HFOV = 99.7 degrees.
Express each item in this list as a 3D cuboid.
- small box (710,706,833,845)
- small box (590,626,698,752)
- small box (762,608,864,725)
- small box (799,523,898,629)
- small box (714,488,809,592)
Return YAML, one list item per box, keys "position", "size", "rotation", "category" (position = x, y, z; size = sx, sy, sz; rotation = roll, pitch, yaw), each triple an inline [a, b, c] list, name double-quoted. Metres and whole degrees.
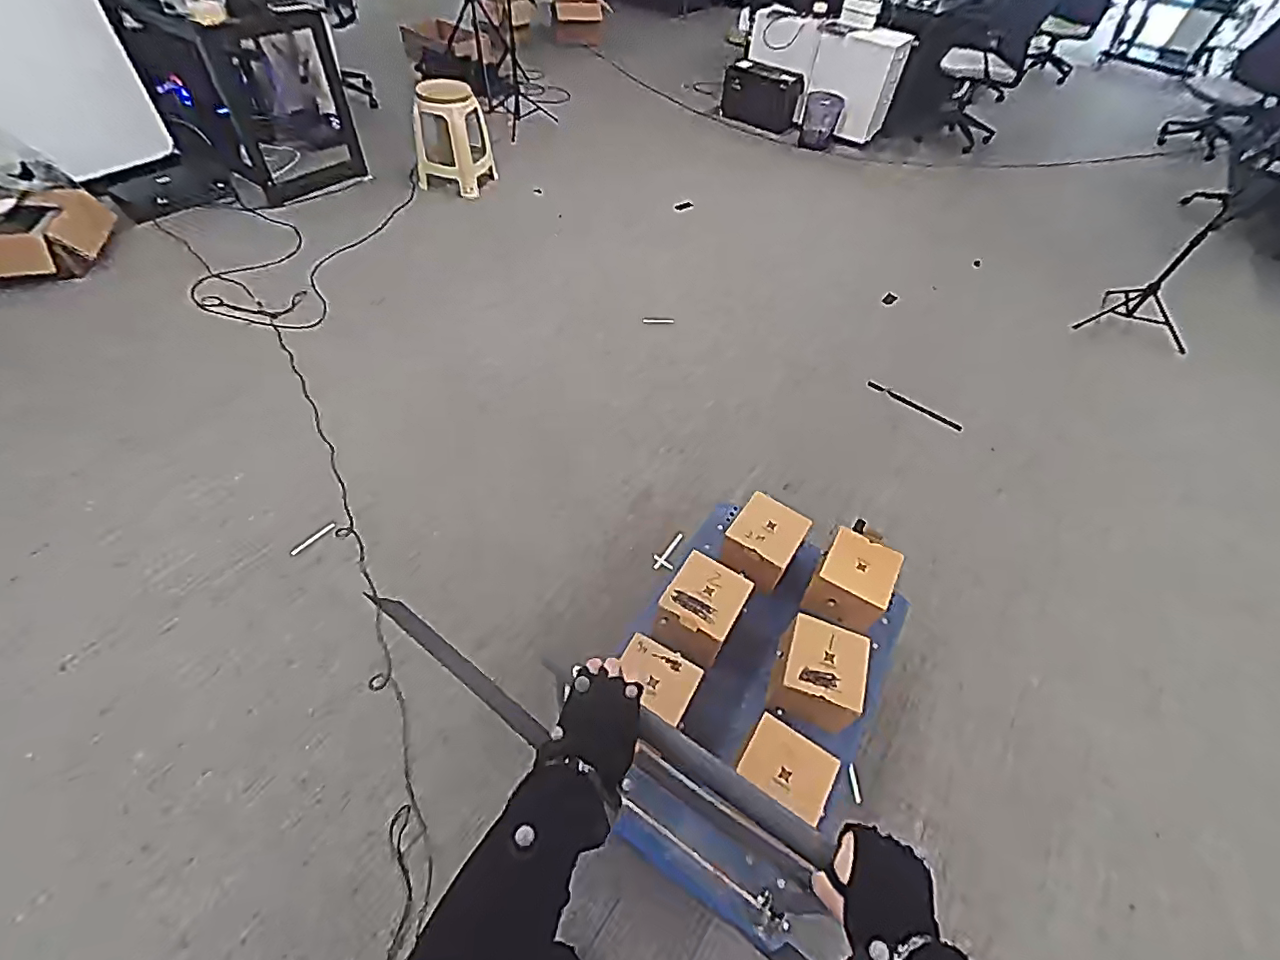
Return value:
- position: [0.256, 0.599, 1.090]
  size: [0.168, 0.176, 0.179]
  rotation: [31, 55, 17]
  category: "small box"
- position: [0.007, 0.458, 1.172]
  size: [0.168, 0.176, 0.179]
  rotation: [28, 55, 14]
  category: "small box"
- position: [0.388, 0.430, 1.233]
  size: [0.168, 0.176, 0.179]
  rotation: [20, 52, 10]
  category: "small box"
- position: [0.527, 0.251, 1.386]
  size: [0.168, 0.176, 0.179]
  rotation: [28, 55, 15]
  category: "small box"
- position: [0.314, 0.161, 1.431]
  size: [0.168, 0.176, 0.179]
  rotation: [32, 57, 18]
  category: "small box"
